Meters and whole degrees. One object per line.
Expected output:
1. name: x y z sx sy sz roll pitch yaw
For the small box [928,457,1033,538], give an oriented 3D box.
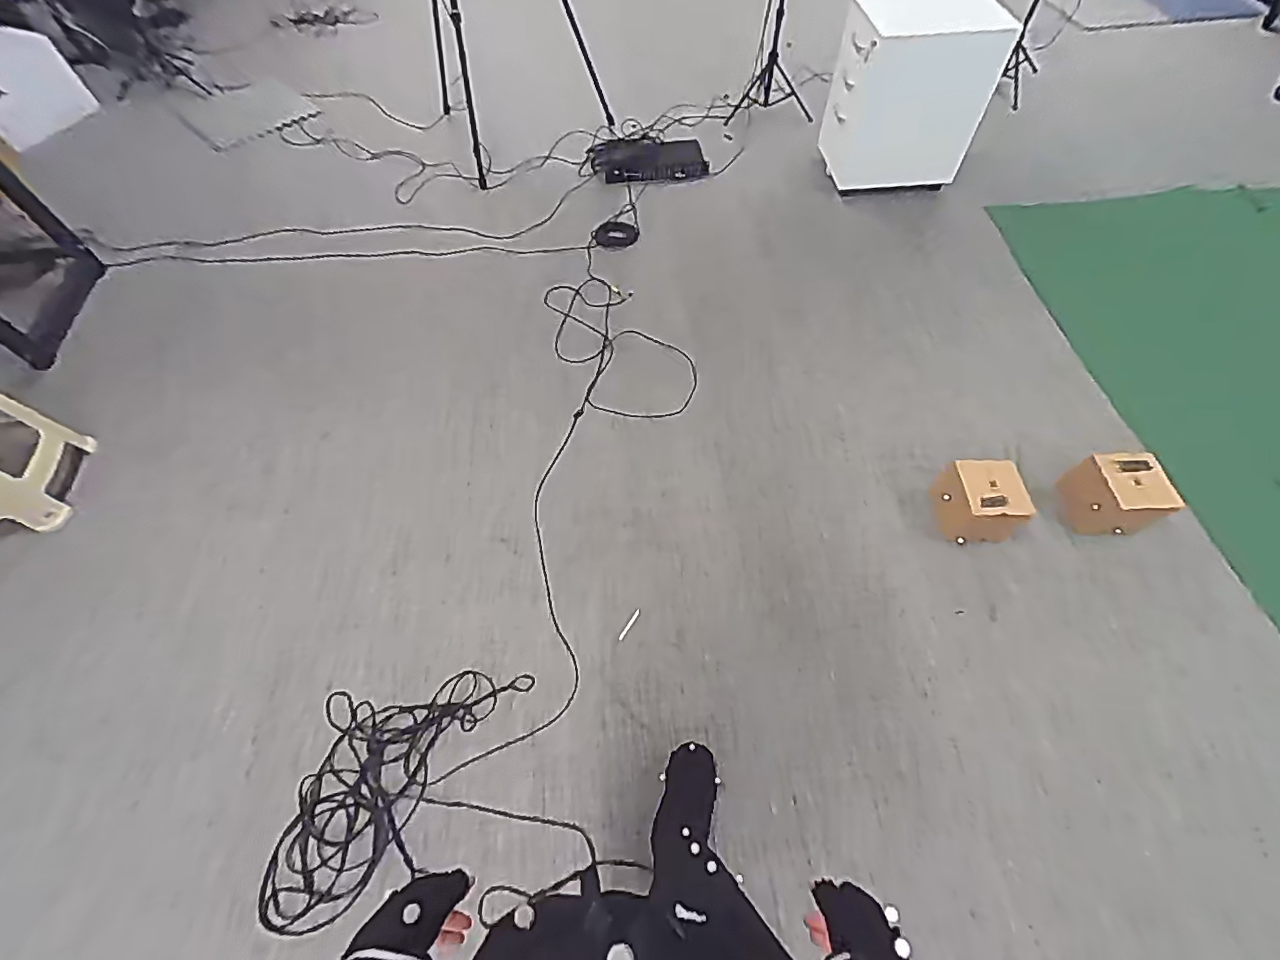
1. small box: 0.942 0.053 1.514 0.168 0.176 0.179 0 58 1
